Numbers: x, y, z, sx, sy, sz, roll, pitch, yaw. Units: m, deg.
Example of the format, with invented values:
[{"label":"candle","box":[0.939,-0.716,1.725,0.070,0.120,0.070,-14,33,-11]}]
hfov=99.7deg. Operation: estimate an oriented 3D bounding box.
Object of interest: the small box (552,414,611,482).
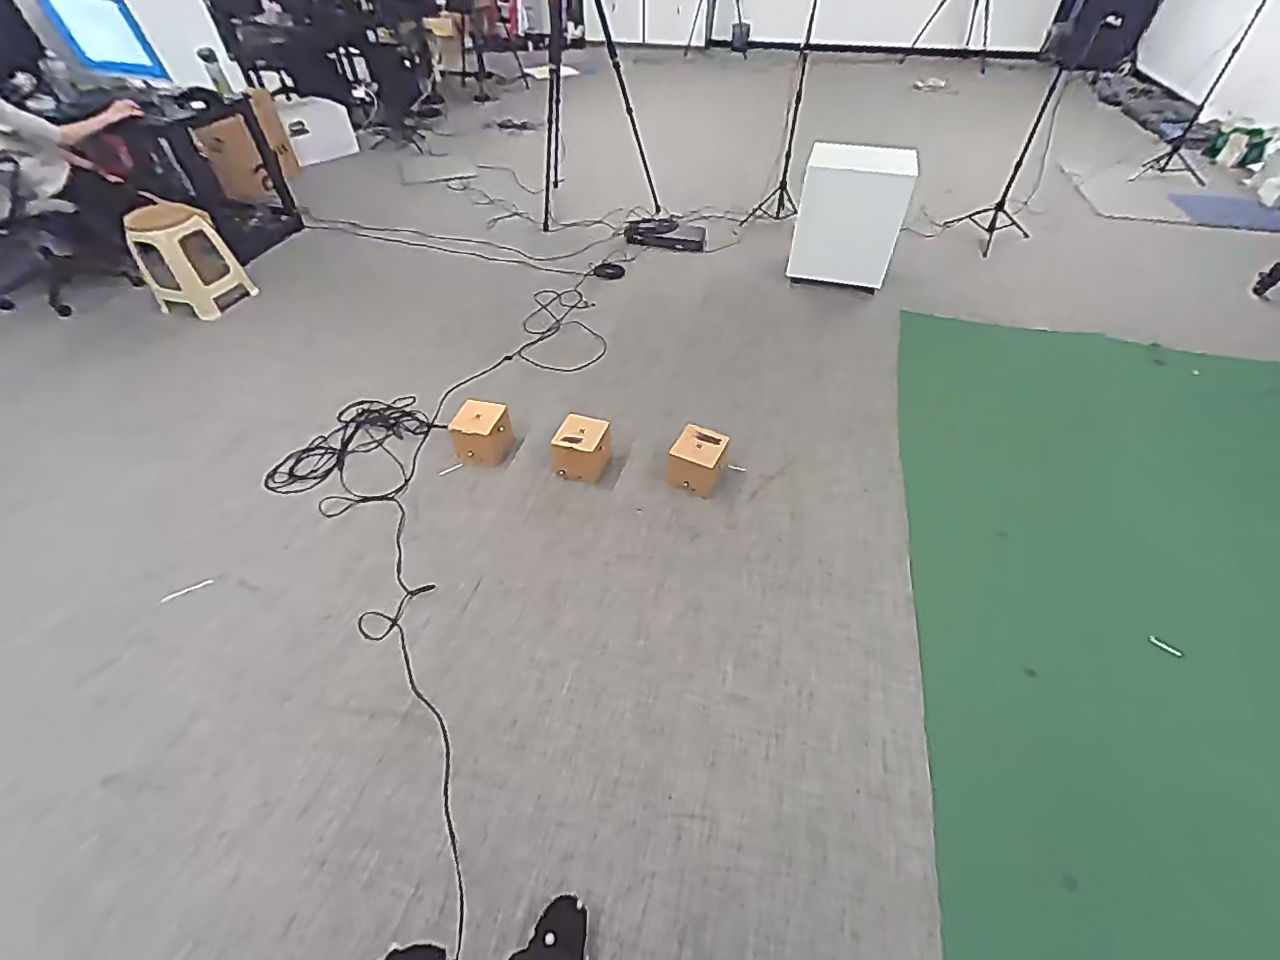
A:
[{"label":"small box","box":[-0.211,-0.116,2.023,0.168,0.176,0.179,14,48,14]}]

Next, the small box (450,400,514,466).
[{"label":"small box","box":[-0.602,-0.182,2.093,0.168,0.176,0.179,10,49,10]}]
